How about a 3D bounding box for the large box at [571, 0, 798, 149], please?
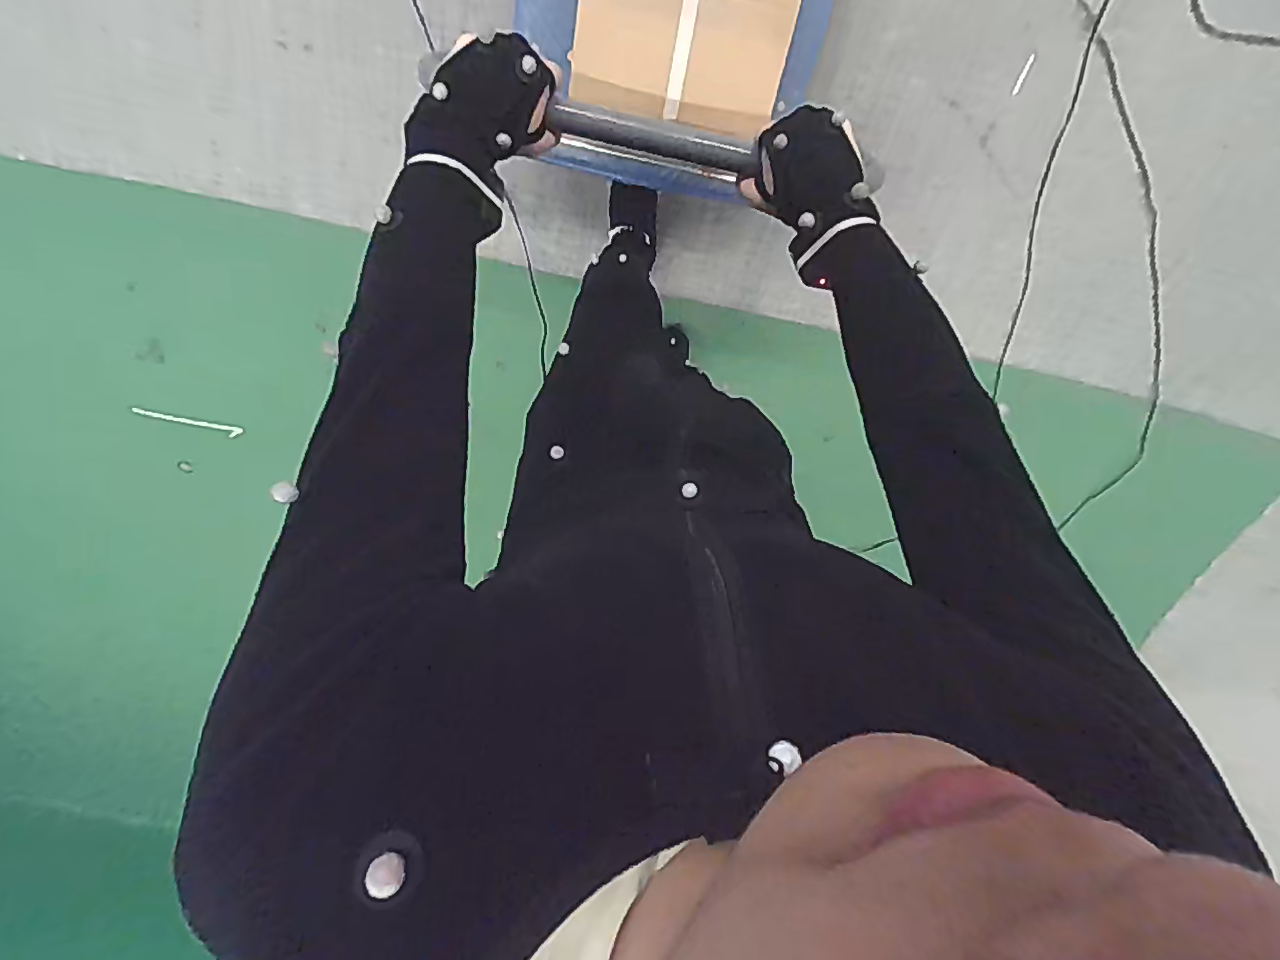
[{"bbox_3d":[0.080,-0.802,0.879,0.320,0.320,0.408,9,118,-6],"label":"large box"}]
